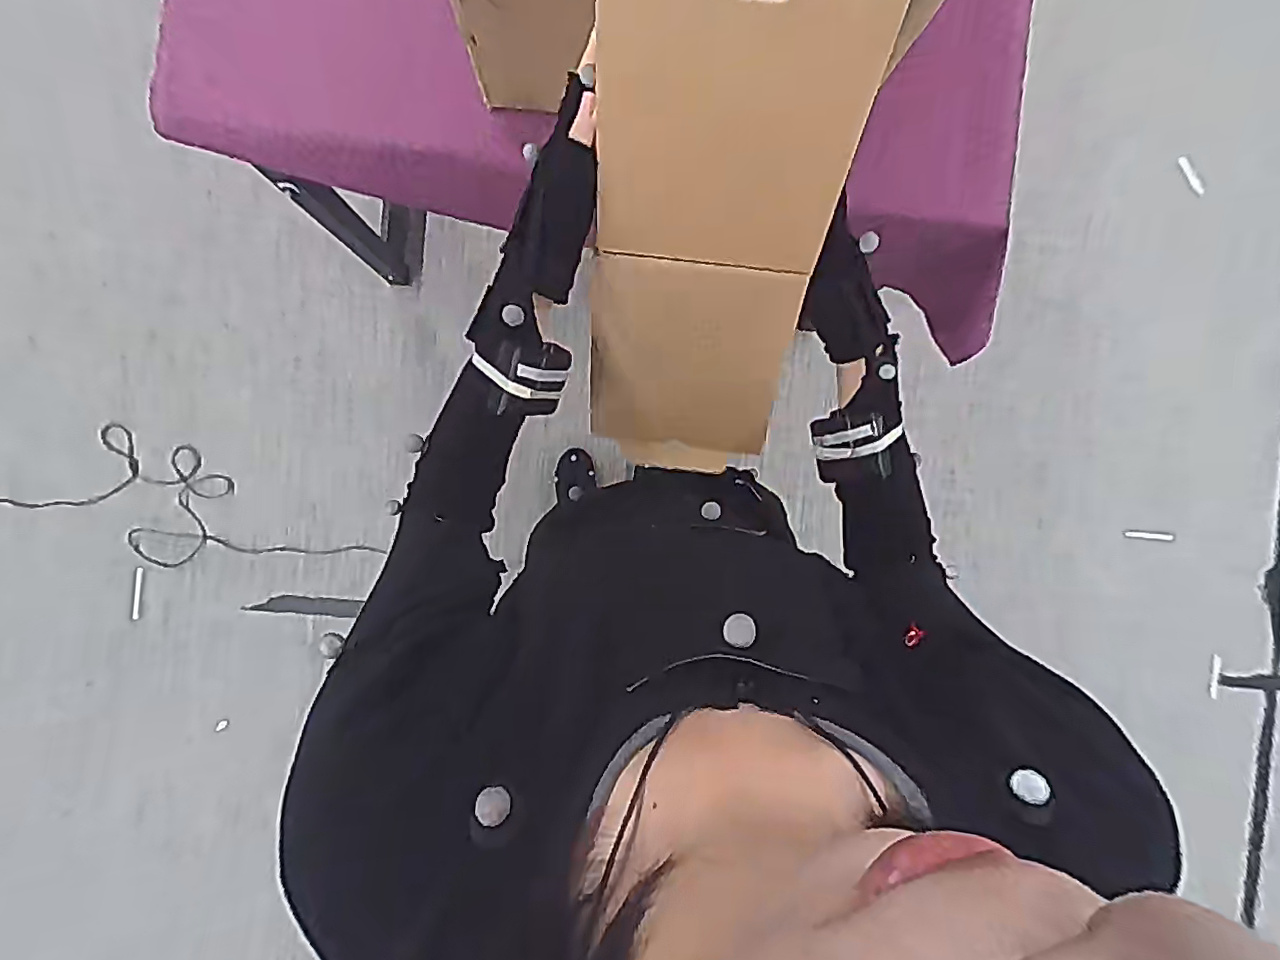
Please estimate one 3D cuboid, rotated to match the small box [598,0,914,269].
[{"bbox_3d":[0.062,-0.277,0.377,0.168,0.179,0.176,6,51,0],"label":"small box"}]
